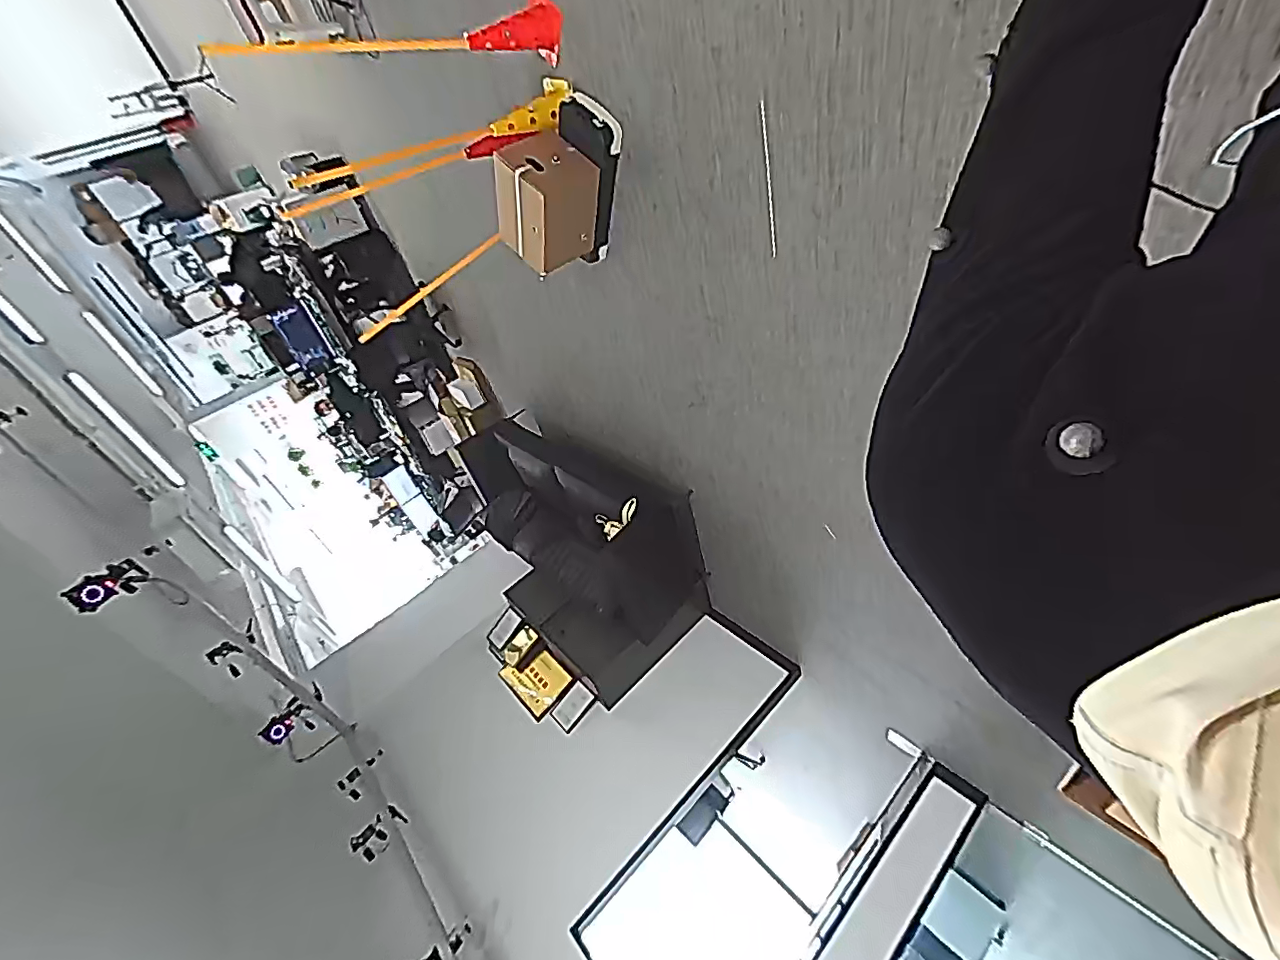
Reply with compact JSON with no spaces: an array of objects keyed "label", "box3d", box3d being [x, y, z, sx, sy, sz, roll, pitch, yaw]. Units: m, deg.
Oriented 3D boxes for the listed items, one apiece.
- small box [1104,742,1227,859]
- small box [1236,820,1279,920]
[{"label":"small box","box3d":[1.371,0.833,1.413,0.168,0.176,0.179,31,147,41]},{"label":"small box","box3d":[1.542,0.925,1.234,0.179,0.176,0.168,31,147,43]}]
